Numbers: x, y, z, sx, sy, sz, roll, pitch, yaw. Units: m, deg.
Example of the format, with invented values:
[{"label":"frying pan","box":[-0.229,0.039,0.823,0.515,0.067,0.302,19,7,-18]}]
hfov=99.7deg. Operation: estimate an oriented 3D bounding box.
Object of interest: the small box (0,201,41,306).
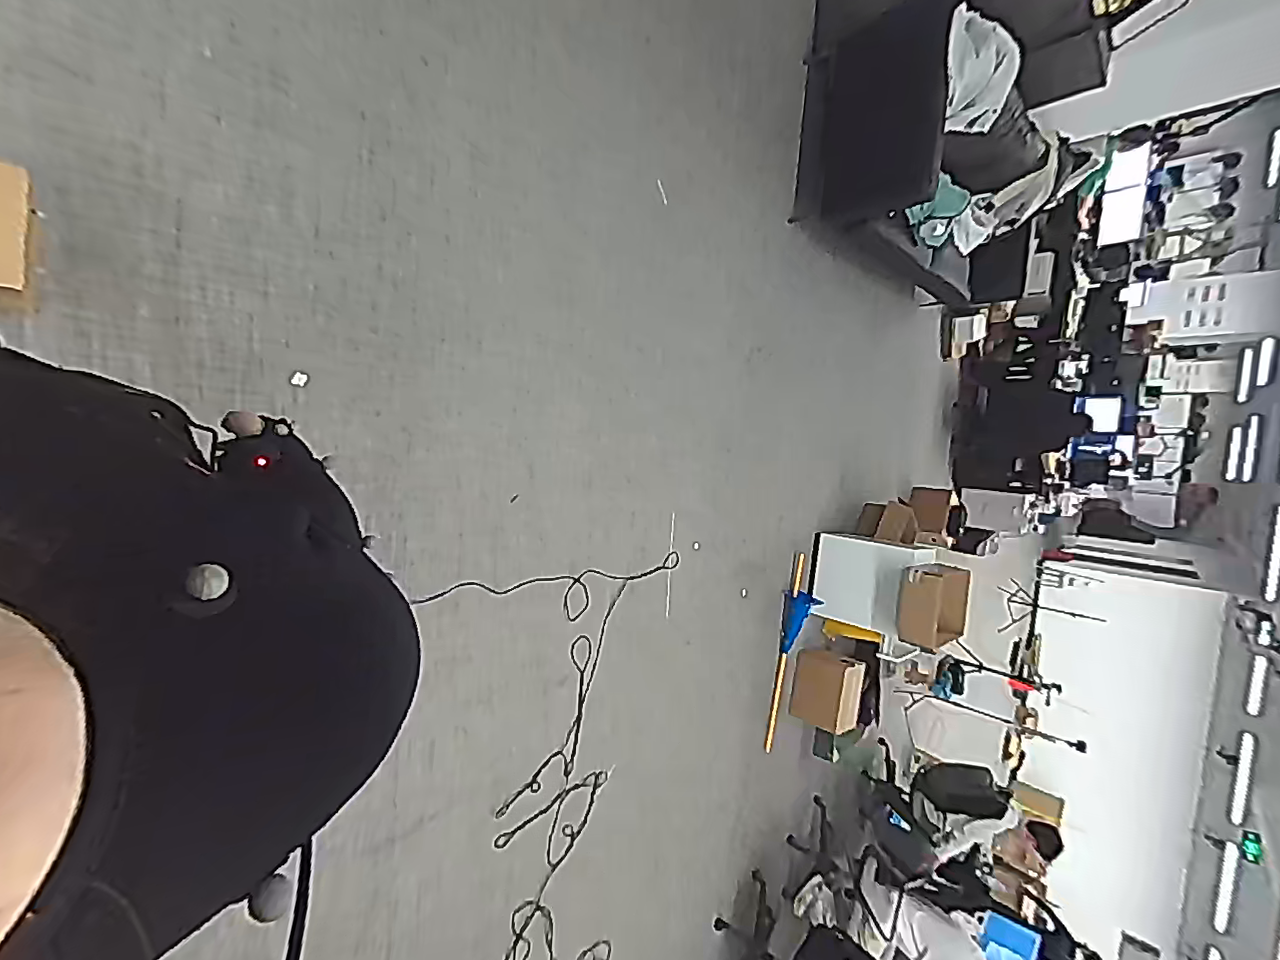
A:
[{"label":"small box","box":[-1.112,-0.396,0.883,0.168,0.176,0.179,7,92,-46]}]

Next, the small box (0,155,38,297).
[{"label":"small box","box":[-0.994,-0.378,0.773,0.168,0.176,0.179,2,95,-45]}]
